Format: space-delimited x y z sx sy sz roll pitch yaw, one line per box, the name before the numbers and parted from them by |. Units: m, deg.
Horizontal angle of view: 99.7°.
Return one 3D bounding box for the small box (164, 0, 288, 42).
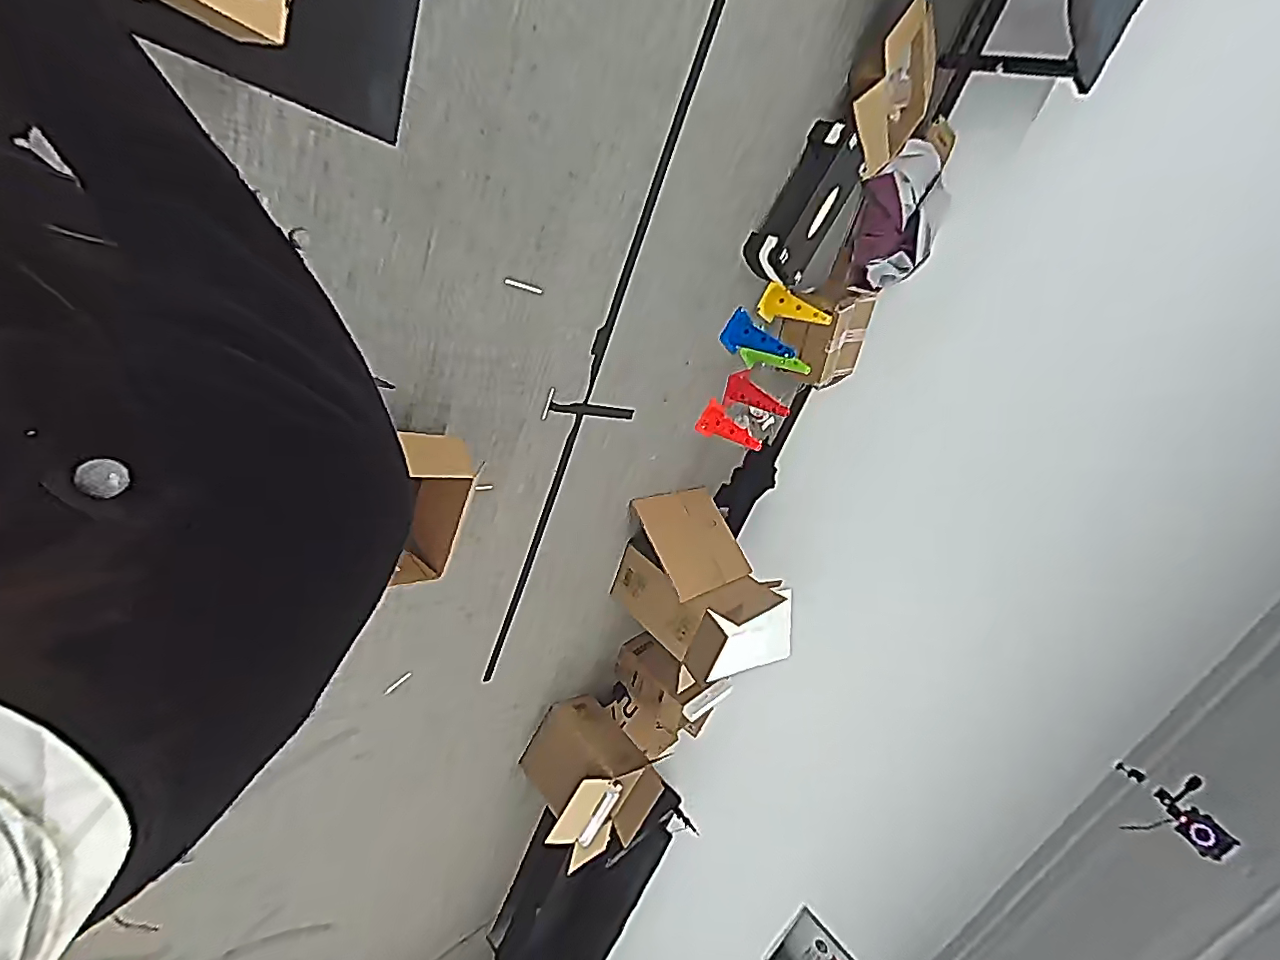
small box | -0.413 -0.518 0.457 0.179 0.176 0.168 0 119 -50
